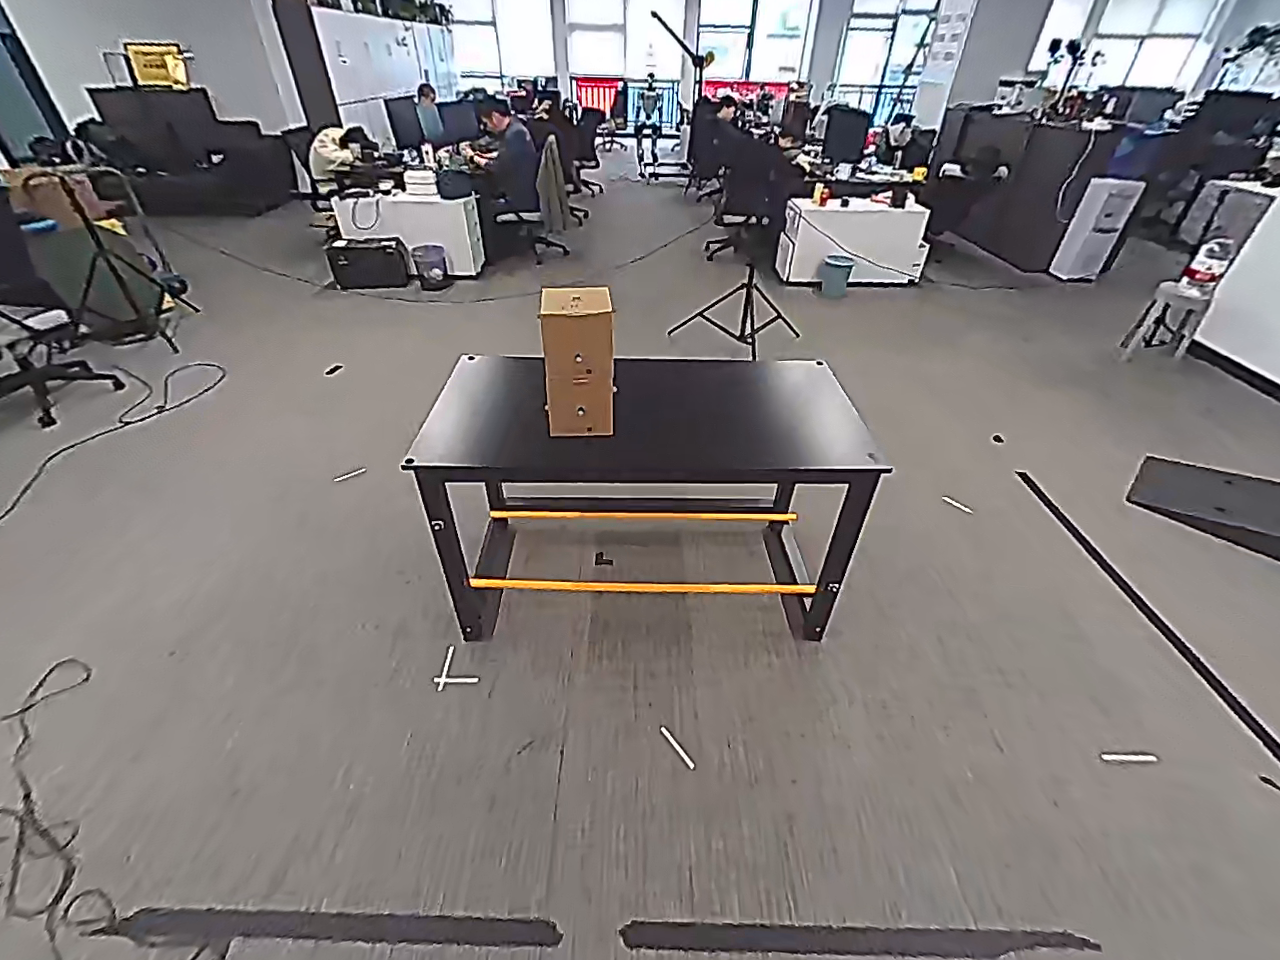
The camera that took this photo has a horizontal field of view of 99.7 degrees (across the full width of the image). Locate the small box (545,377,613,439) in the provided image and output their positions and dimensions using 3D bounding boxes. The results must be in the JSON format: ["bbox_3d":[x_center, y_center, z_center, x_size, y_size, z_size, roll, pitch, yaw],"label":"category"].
[{"bbox_3d":[-0.160,-0.220,1.455,0.168,0.176,0.179,-3,38,-4],"label":"small box"}]

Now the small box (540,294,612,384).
[{"bbox_3d":[-0.158,-0.354,1.356,0.168,0.176,0.179,-4,38,-5],"label":"small box"}]
